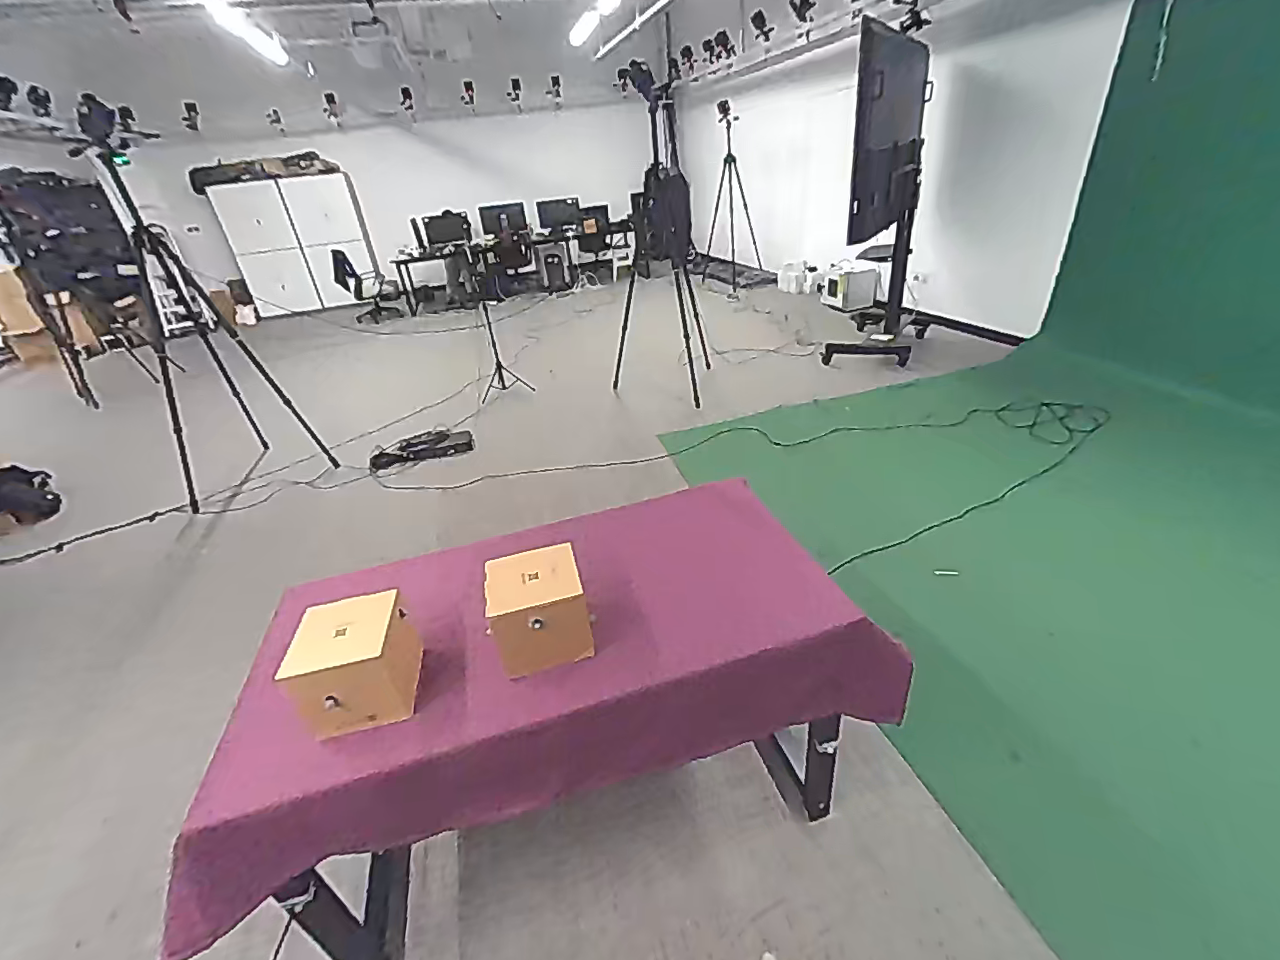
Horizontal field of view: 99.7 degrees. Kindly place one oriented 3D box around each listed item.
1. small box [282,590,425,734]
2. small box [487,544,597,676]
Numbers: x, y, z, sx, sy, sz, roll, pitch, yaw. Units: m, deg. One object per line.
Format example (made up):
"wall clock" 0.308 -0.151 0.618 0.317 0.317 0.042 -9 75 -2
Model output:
"small box" -0.509 0.337 0.994 0.168 0.176 0.179 -12 29 -8
"small box" -0.193 0.255 1.063 0.179 0.176 0.168 -12 31 -9
